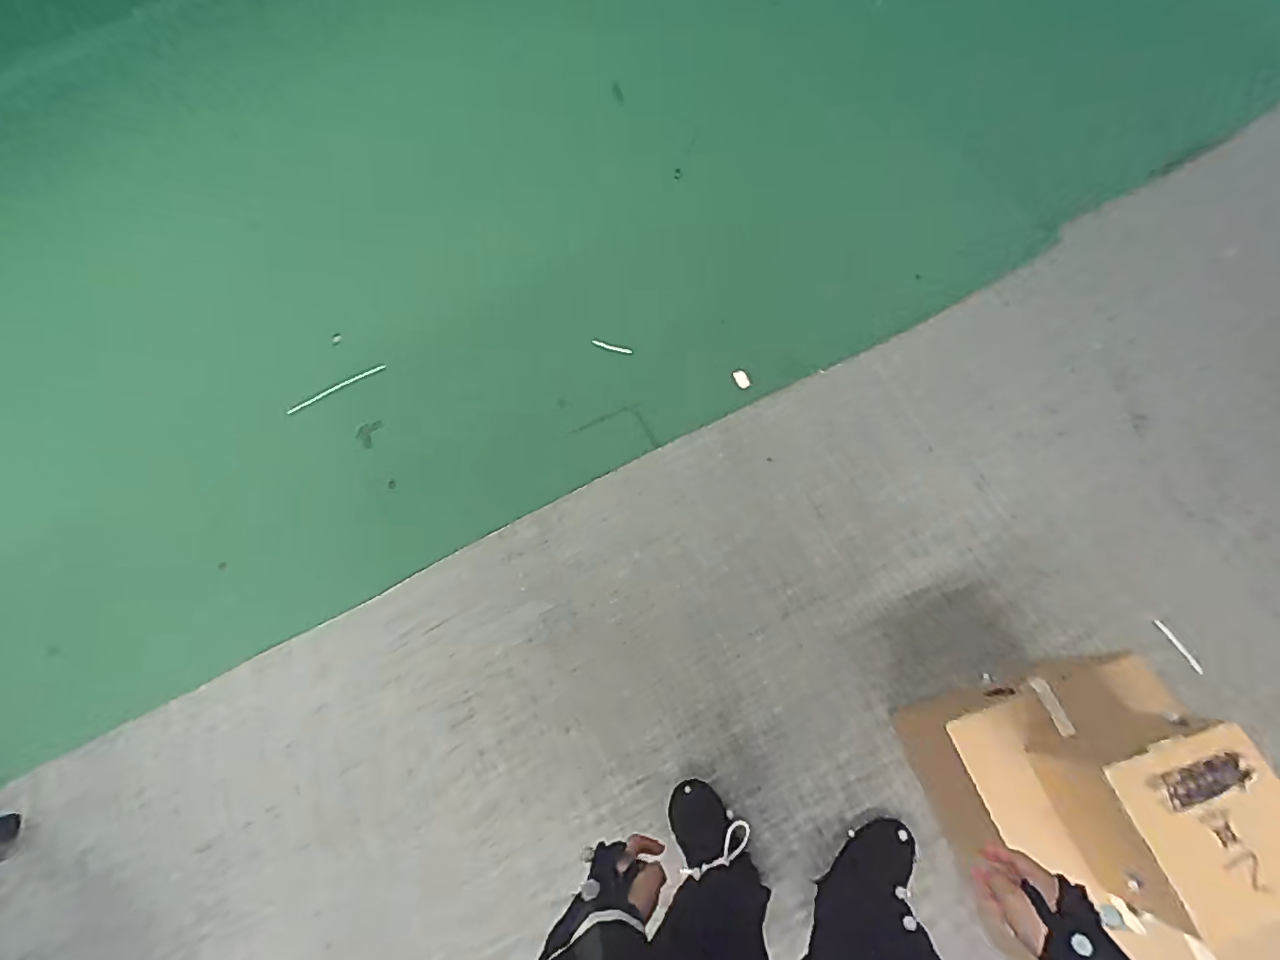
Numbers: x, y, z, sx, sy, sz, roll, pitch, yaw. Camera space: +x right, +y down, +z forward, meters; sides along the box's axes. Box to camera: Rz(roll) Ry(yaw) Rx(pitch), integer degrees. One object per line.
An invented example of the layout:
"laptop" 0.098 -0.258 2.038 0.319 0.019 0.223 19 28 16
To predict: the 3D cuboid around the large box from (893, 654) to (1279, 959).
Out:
"large box" 0.684 0.532 0.866 0.320 0.320 0.408 -21 68 2
